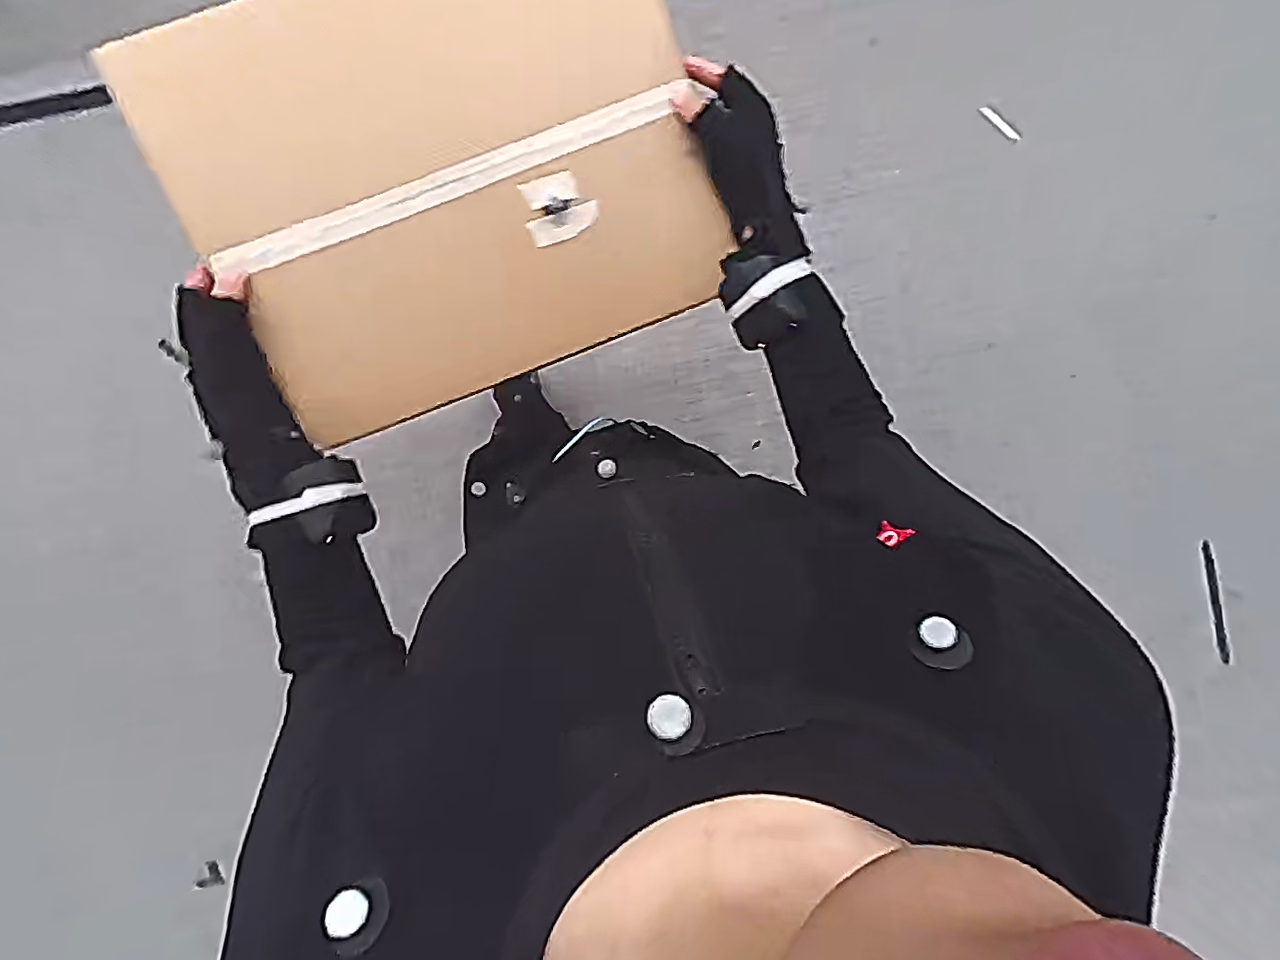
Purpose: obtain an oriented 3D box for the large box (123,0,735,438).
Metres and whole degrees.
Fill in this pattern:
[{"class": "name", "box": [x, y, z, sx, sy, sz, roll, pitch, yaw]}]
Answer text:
[{"class": "large box", "box": [-0.171, -0.278, 0.587, 0.408, 0.320, 0.320, -23, 106, -4]}]
